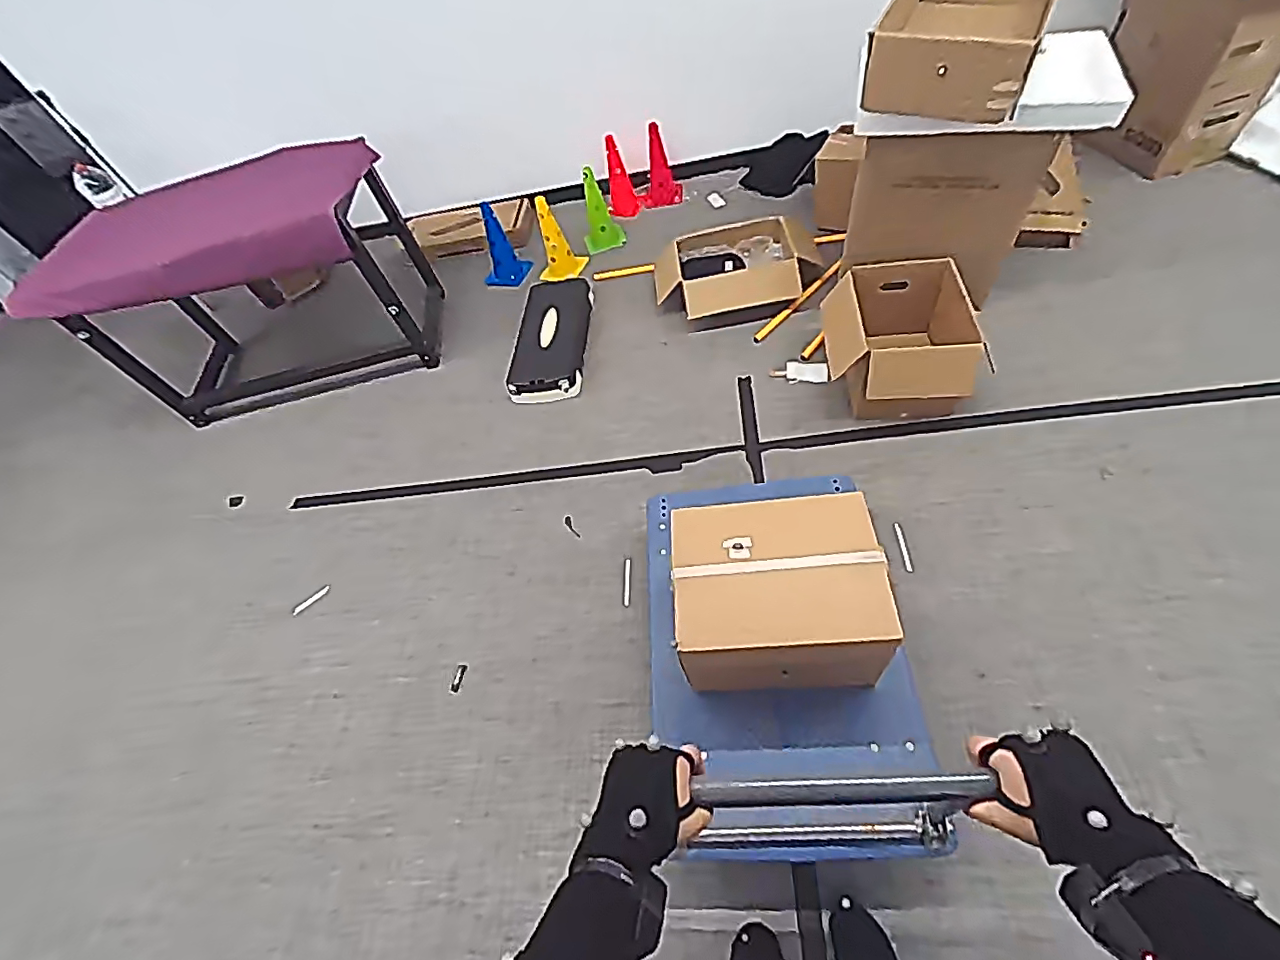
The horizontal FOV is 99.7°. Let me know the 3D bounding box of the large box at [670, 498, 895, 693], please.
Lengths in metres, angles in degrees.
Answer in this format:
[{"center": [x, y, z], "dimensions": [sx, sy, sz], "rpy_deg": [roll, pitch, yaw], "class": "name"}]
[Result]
[{"center": [0.294, 0.271, 1.204], "dimensions": [0.408, 0.320, 0.320], "rpy_deg": [-7, 53, 9], "class": "large box"}]
